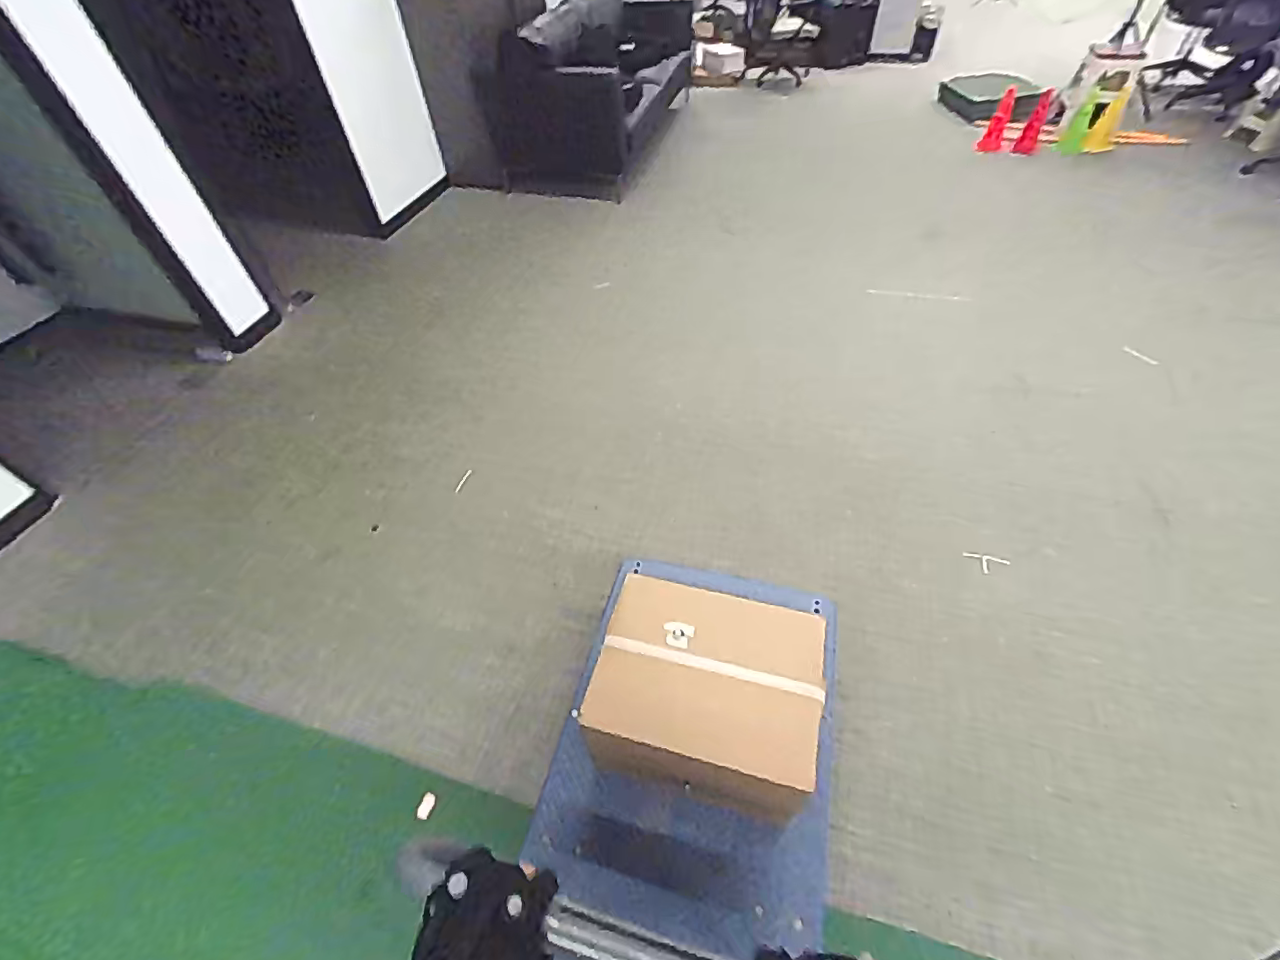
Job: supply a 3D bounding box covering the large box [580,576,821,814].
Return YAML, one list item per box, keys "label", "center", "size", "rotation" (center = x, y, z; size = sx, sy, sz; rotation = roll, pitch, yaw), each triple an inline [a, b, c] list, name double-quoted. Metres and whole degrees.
- label: "large box"
  center: [0.134, 0.439, 1.110]
  size: [0.408, 0.320, 0.320]
  rotation: [10, 50, 13]
